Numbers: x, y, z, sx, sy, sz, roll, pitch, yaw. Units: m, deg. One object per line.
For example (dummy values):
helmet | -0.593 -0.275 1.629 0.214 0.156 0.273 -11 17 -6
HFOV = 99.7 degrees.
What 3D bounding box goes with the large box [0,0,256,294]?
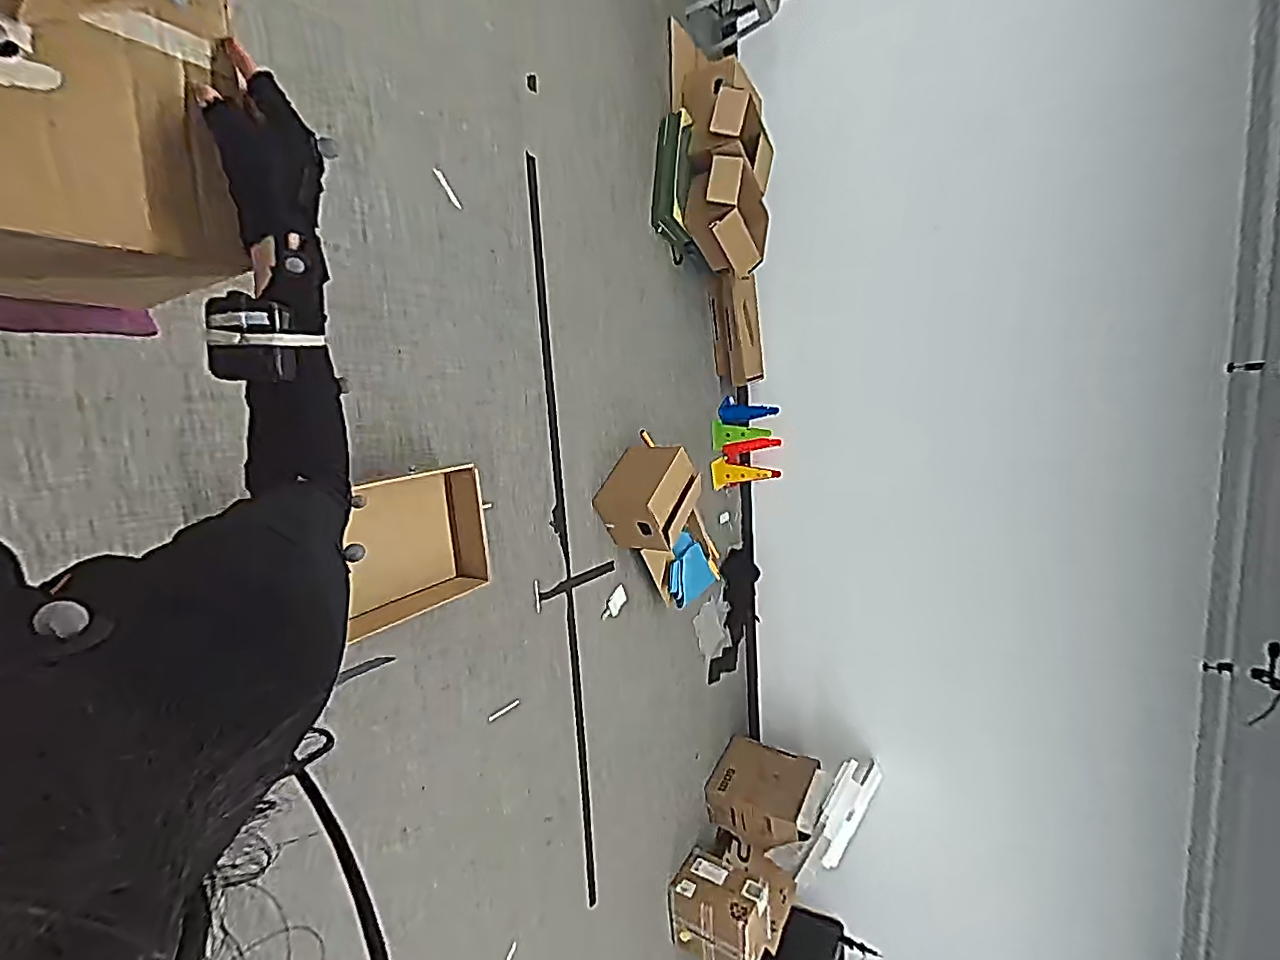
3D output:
large box | -0.560 -0.320 0.350 0.408 0.320 0.320 -14 107 -56
